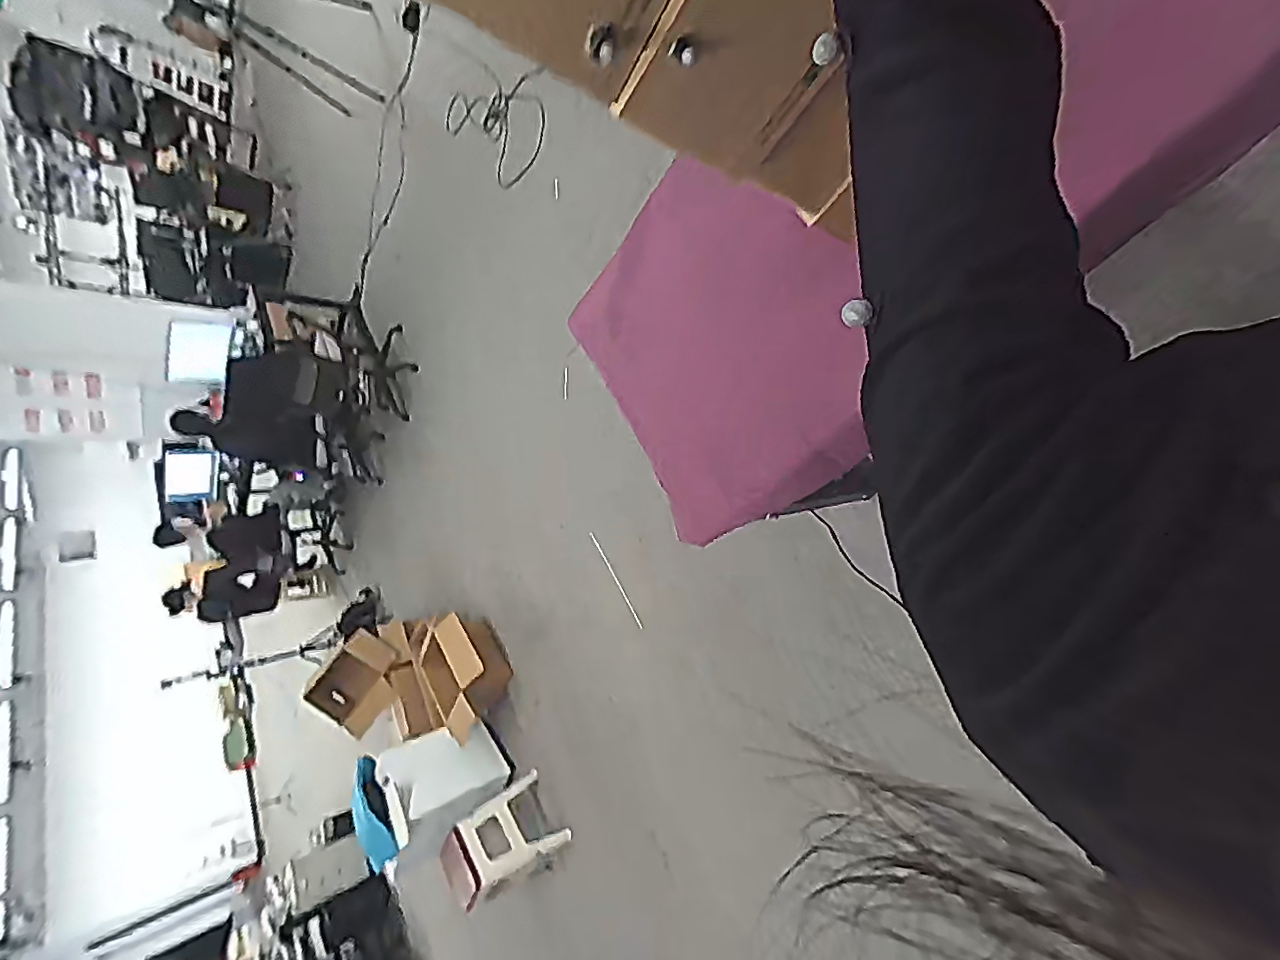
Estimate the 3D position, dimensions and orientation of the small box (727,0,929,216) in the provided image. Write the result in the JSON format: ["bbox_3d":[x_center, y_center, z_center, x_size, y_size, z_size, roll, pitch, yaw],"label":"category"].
[{"bbox_3d":[0.168,-0.423,0.585,0.179,0.176,0.168,-46,61,38],"label":"small box"}]

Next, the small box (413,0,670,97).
[{"bbox_3d":[-0.067,-0.399,0.356,0.168,0.176,0.179,-47,59,37],"label":"small box"}]

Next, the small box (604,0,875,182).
[{"bbox_3d":[0.060,-0.396,0.463,0.168,0.176,0.179,-43,62,40],"label":"small box"}]
